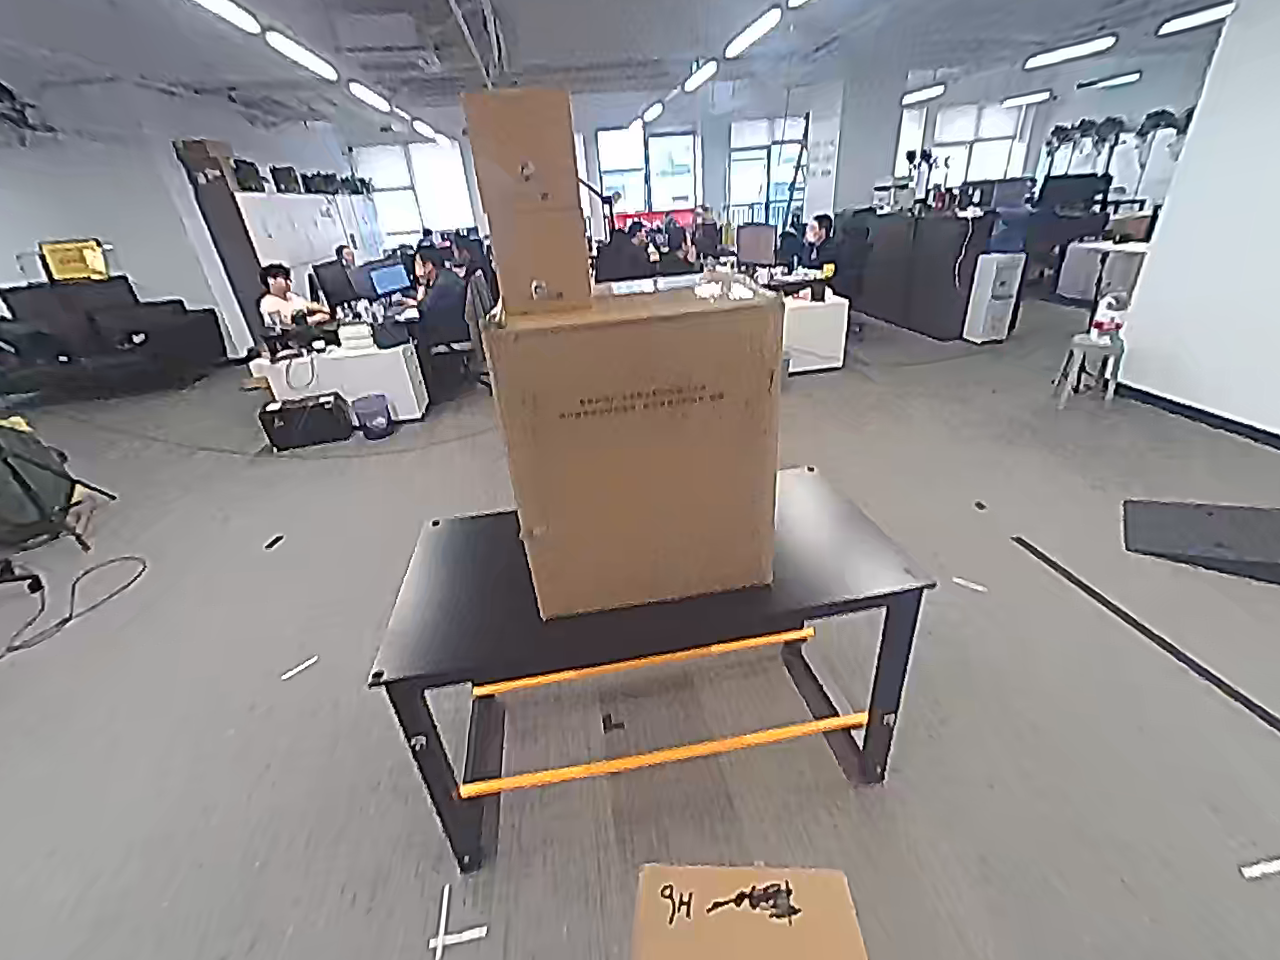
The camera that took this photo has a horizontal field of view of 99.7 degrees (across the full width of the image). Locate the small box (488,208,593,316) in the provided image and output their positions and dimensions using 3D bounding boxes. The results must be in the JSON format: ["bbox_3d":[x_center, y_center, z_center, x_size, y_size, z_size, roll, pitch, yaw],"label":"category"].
[{"bbox_3d":[-0.188,-0.412,1.016,0.168,0.176,0.179,-11,30,-11],"label":"small box"}]

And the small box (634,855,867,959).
[{"bbox_3d":[0.077,0.416,0.407,0.168,0.176,0.179,2,36,0],"label":"small box"}]

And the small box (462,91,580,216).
[{"bbox_3d":[-0.201,-0.555,0.935,0.168,0.176,0.179,-10,29,-9],"label":"small box"}]
